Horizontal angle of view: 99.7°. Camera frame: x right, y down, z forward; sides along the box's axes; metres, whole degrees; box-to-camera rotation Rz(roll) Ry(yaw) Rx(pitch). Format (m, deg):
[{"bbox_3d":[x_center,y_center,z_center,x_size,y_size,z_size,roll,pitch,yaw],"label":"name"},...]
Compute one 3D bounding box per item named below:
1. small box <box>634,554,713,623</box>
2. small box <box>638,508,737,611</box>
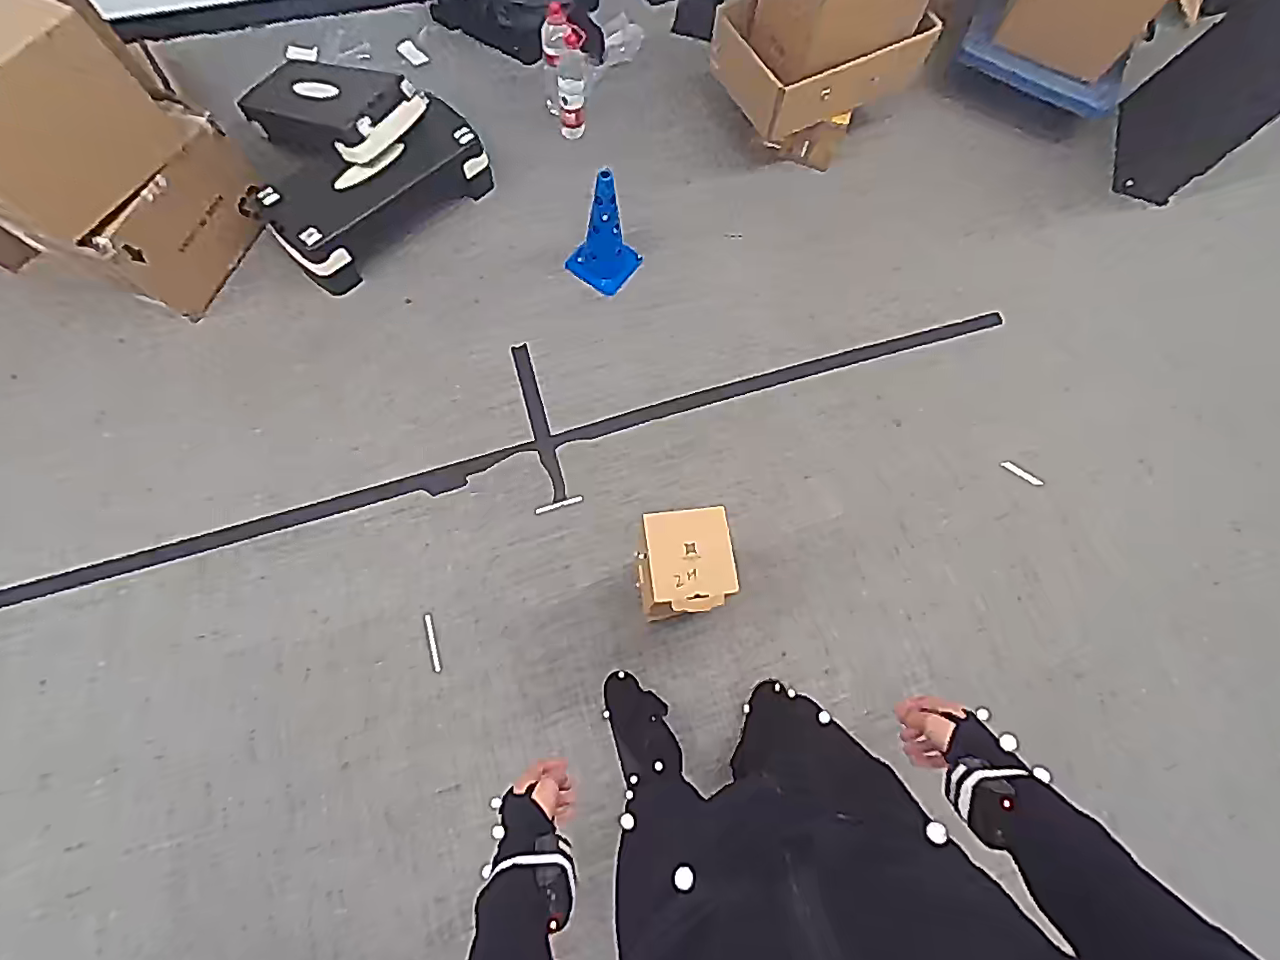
[{"bbox_3d":[0.082,0.276,1.432,0.168,0.176,0.179,-12,74,-8],"label":"small box"},{"bbox_3d":[0.089,0.170,1.119,0.168,0.176,0.179,-6,73,-6],"label":"small box"}]
